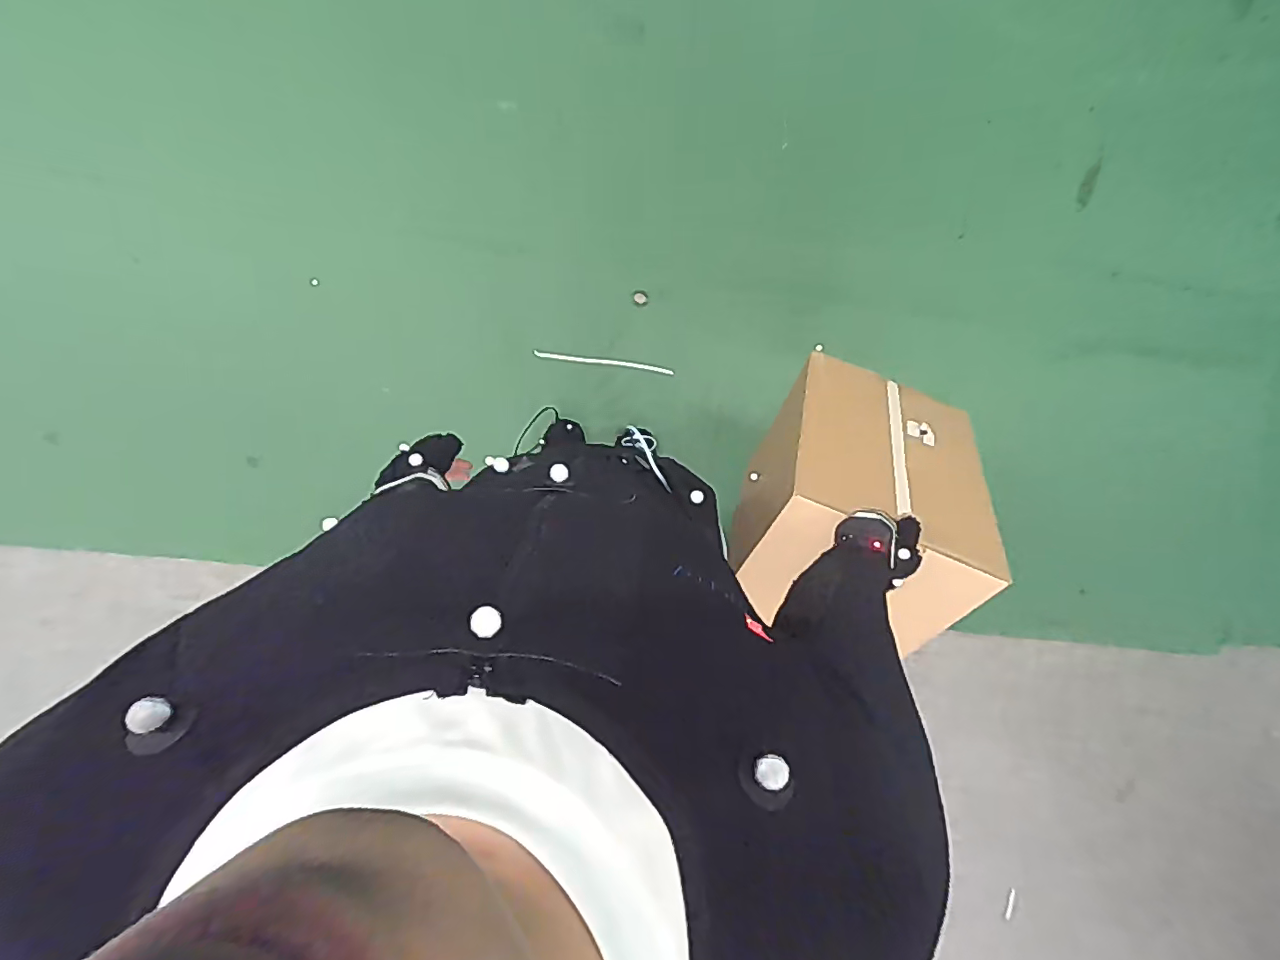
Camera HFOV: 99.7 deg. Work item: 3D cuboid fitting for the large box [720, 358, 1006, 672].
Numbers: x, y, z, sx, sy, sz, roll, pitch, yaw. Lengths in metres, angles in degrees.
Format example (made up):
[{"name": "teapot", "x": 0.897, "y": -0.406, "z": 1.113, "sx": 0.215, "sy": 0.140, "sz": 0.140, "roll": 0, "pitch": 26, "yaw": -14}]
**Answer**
[{"name": "large box", "x": 0.362, "y": 0.055, "z": 0.967, "sx": 0.320, "sy": 0.408, "sz": 0.320, "roll": 23, "pitch": 134, "yaw": 0}]
